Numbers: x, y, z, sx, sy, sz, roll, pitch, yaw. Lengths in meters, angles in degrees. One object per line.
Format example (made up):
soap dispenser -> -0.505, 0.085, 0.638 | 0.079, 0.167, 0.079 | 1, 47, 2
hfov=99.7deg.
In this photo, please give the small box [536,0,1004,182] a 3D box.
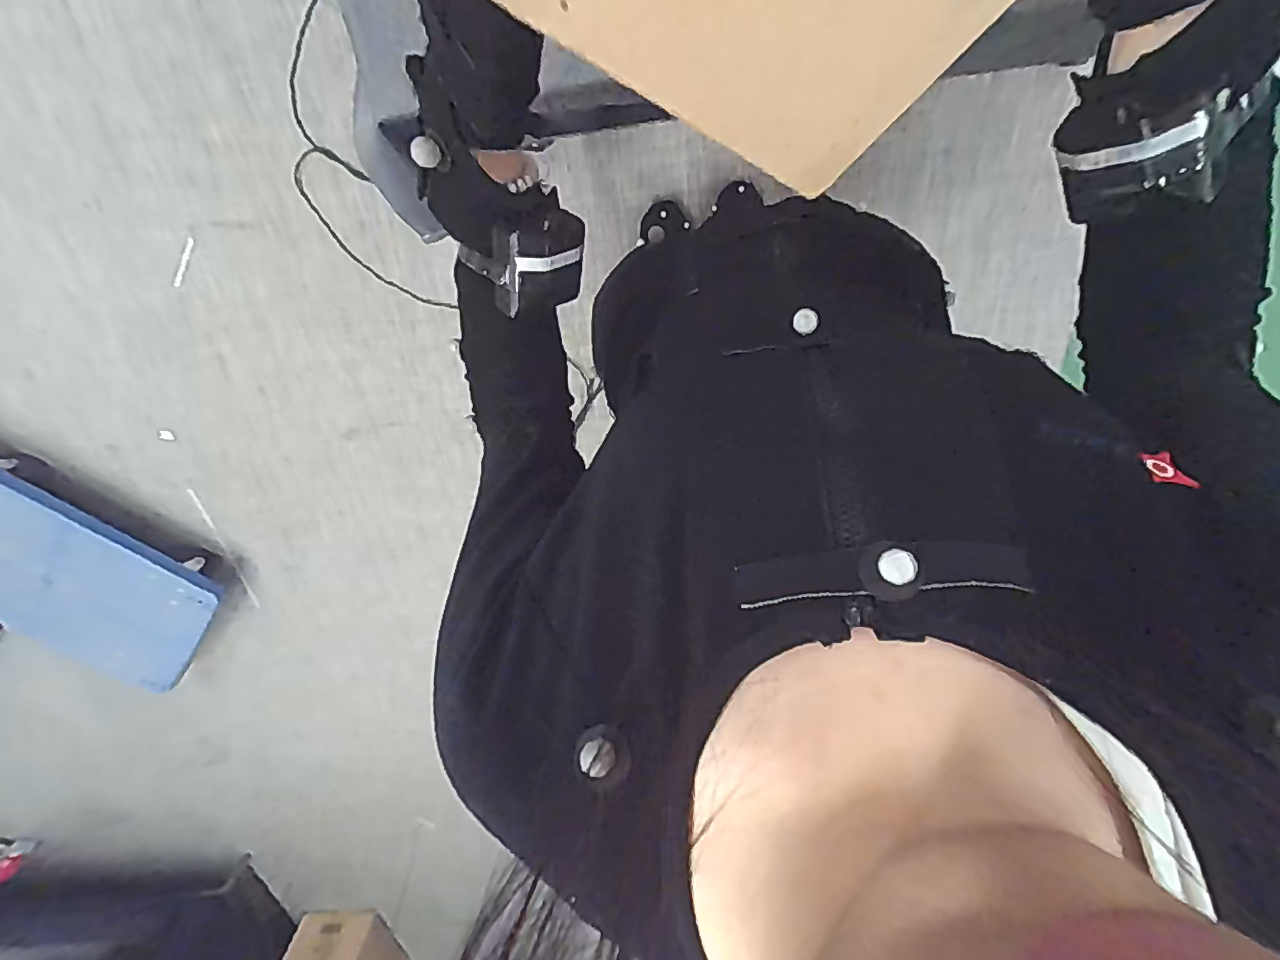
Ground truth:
small box -> 0.038, -0.241, 0.161 | 0.176, 0.179, 0.168 | -3, 155, -41
